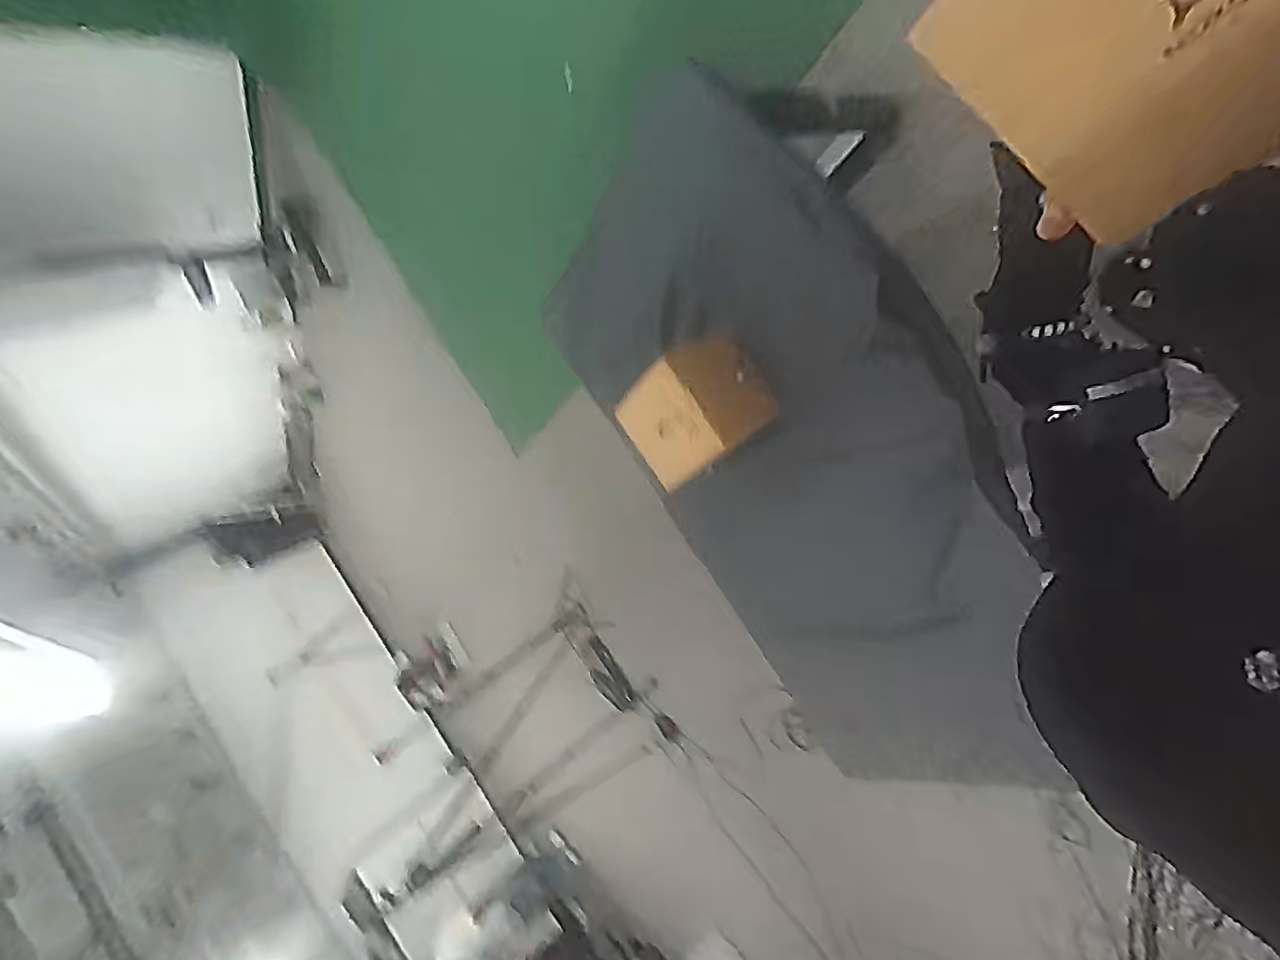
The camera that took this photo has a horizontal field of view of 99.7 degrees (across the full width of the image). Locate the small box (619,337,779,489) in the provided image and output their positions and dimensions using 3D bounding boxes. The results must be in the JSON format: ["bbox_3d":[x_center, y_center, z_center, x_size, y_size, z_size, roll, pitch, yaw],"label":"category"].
[{"bbox_3d":[0.101,-0.114,0.927,0.168,0.176,0.179,55,143,5],"label":"small box"}]
